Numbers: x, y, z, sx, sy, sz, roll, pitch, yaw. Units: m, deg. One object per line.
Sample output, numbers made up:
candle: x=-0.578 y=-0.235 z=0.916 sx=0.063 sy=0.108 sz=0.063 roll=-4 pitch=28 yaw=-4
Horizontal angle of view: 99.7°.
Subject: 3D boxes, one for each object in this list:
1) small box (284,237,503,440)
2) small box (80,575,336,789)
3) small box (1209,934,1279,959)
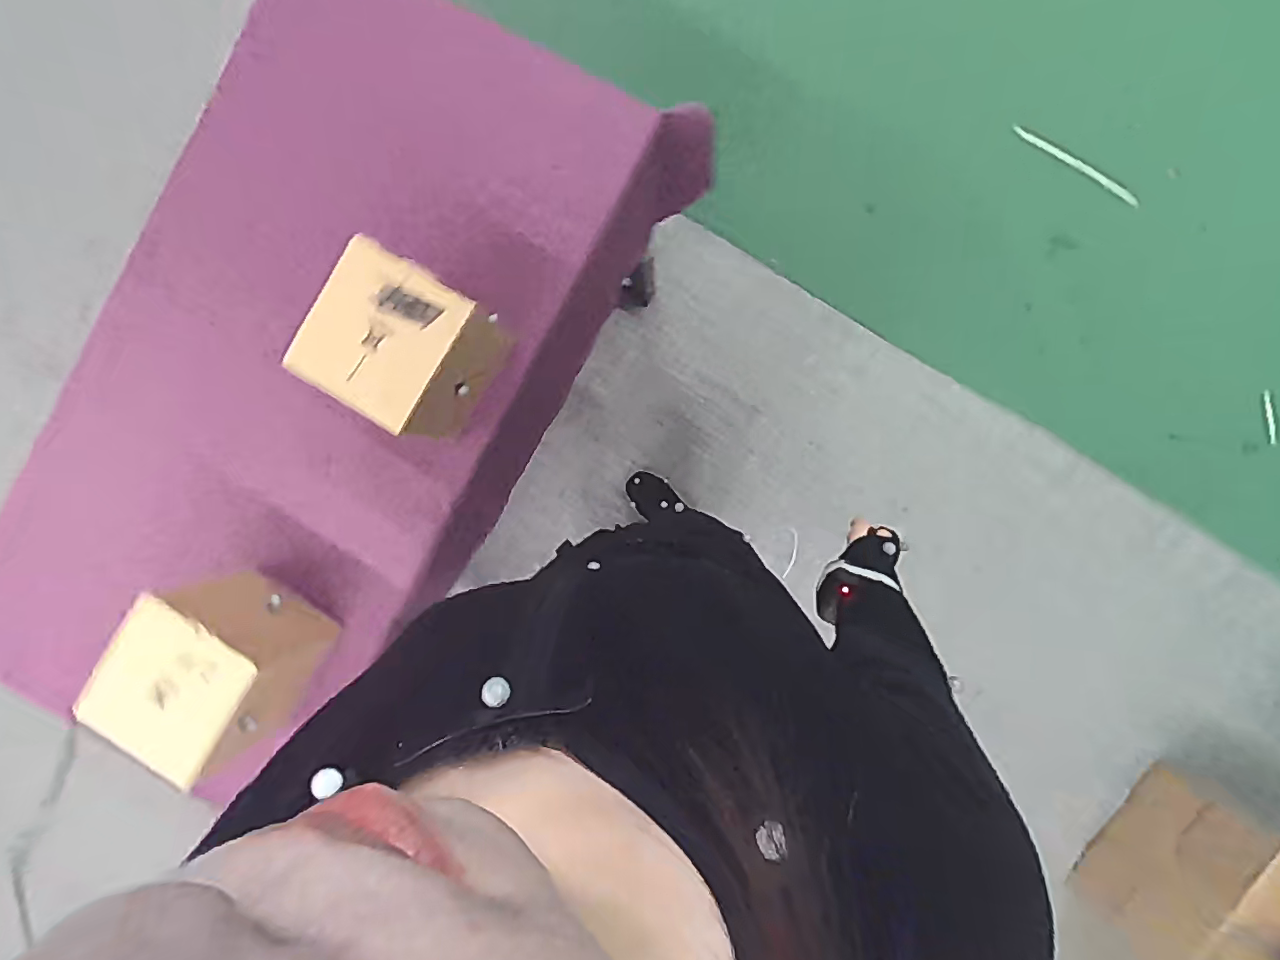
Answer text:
small box: x=-0.299 y=-0.167 z=0.701 sx=0.168 sy=0.176 sz=0.179 roll=31 pitch=93 yaw=3
small box: x=-0.549 y=0.249 z=0.715 sx=0.168 sy=0.176 sz=0.179 roll=32 pitch=92 yaw=2
small box: x=1.270 y=1.058 z=1.059 sx=0.179 sy=0.176 sz=0.168 roll=36 pitch=92 yaw=0
